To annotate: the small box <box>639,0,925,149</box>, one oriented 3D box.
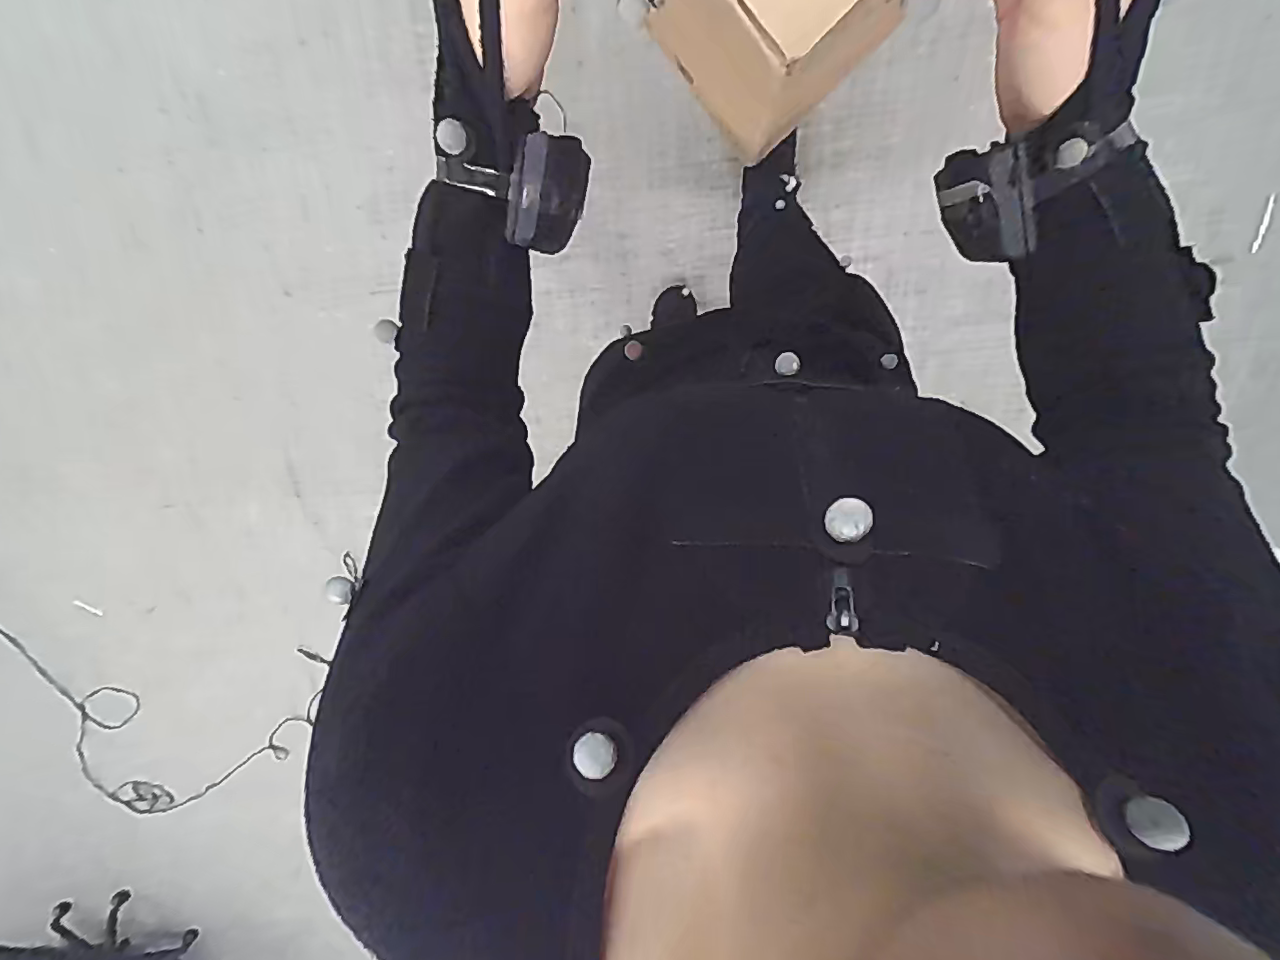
[{"bbox_3d":[0.069,-0.276,0.218,0.179,0.176,0.168,-38,101,19],"label":"small box"}]
